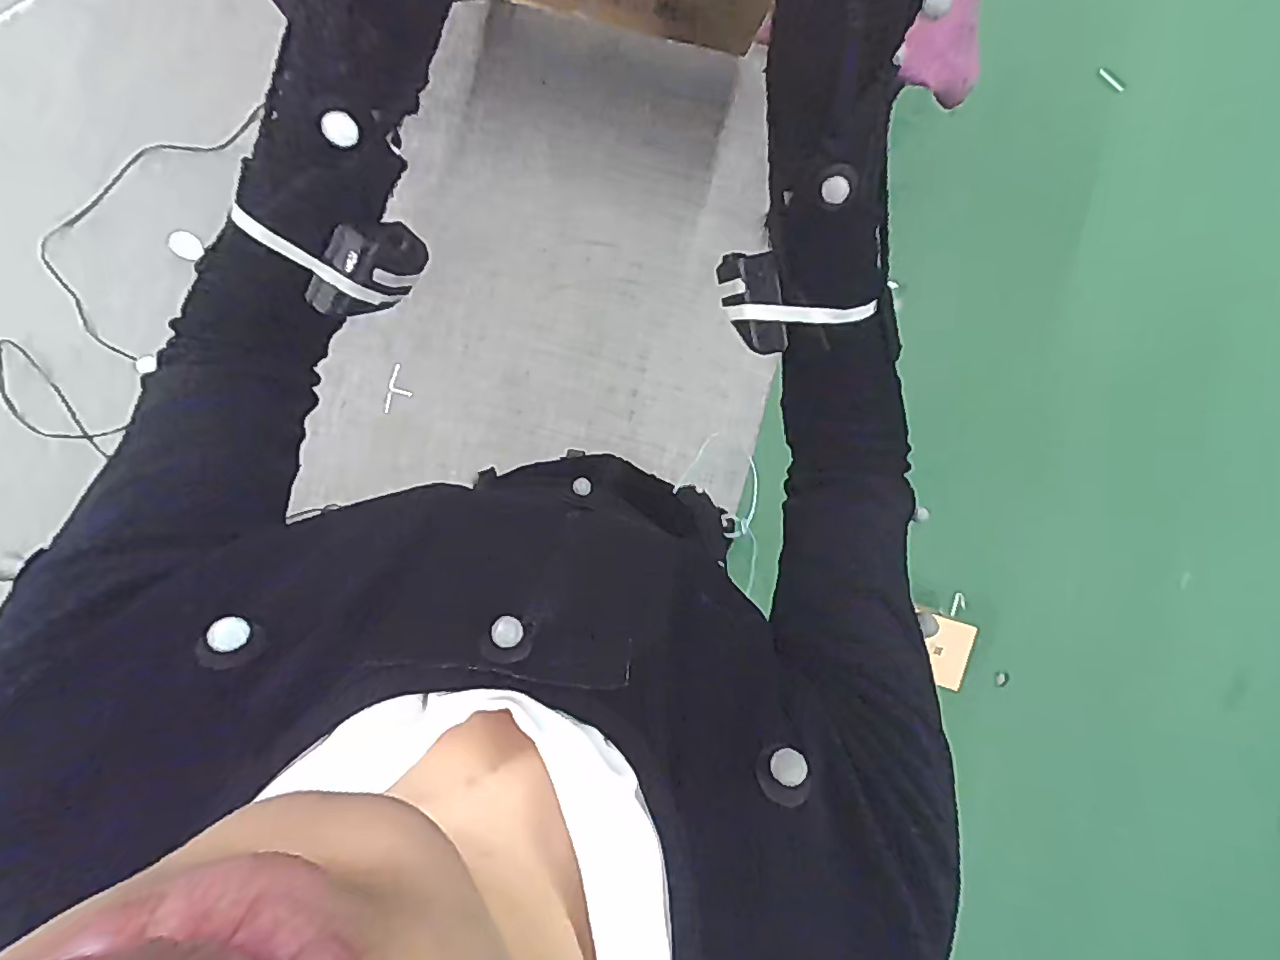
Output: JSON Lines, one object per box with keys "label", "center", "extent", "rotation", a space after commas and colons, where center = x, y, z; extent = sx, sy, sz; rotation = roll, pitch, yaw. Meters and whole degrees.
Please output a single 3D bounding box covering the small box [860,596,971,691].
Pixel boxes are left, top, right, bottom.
{"label": "small box", "center": [0.712, 0.419, 1.414], "extent": [0.179, 0.176, 0.168], "rotation": [18, 91, -1]}
